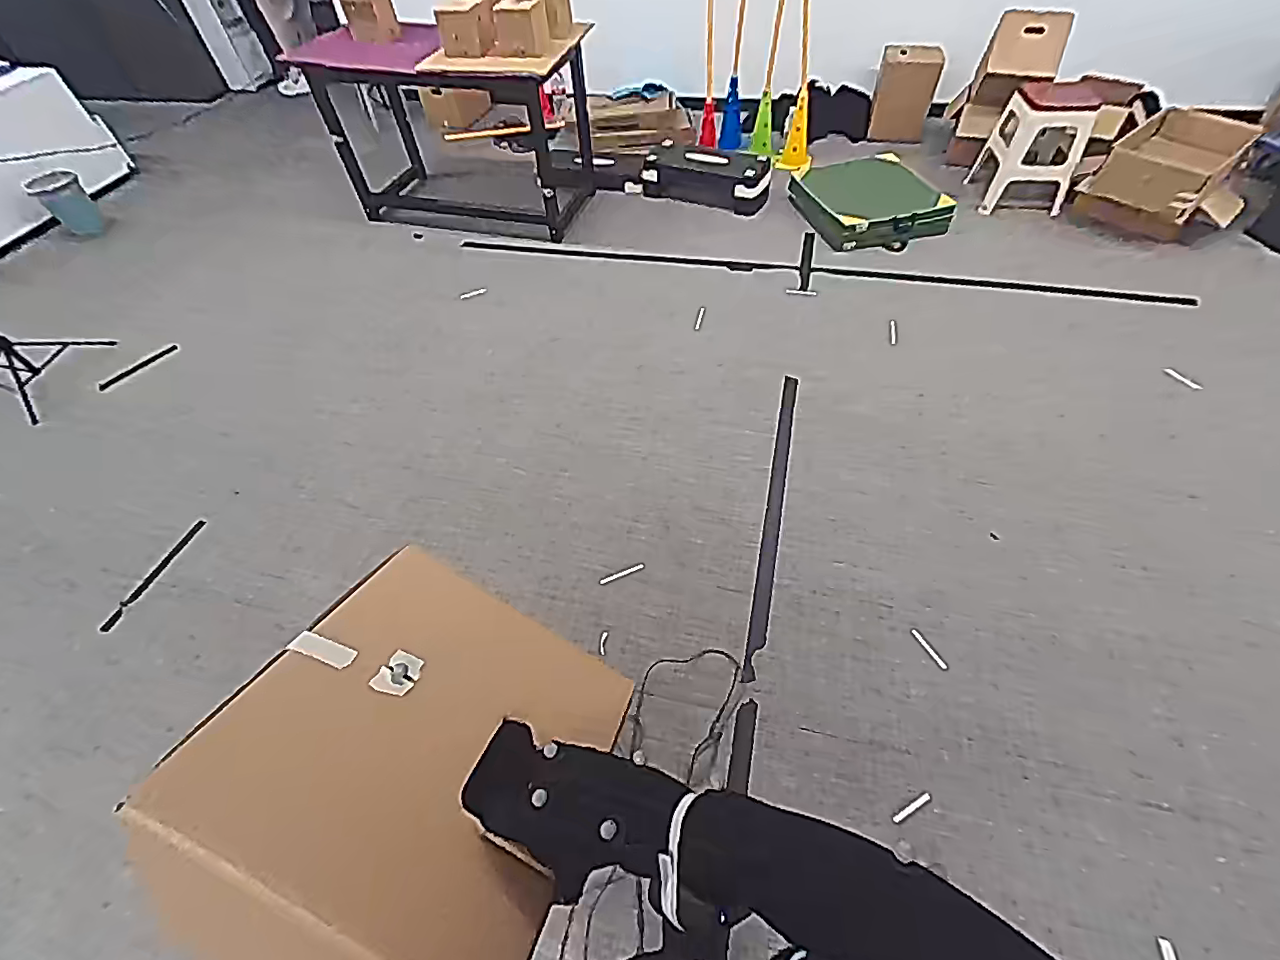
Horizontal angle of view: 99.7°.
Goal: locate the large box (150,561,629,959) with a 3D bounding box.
[{"bbox_3d":[-0.267,0.374,0.624,0.320,0.408,0.320,32,35,0],"label":"large box"}]
